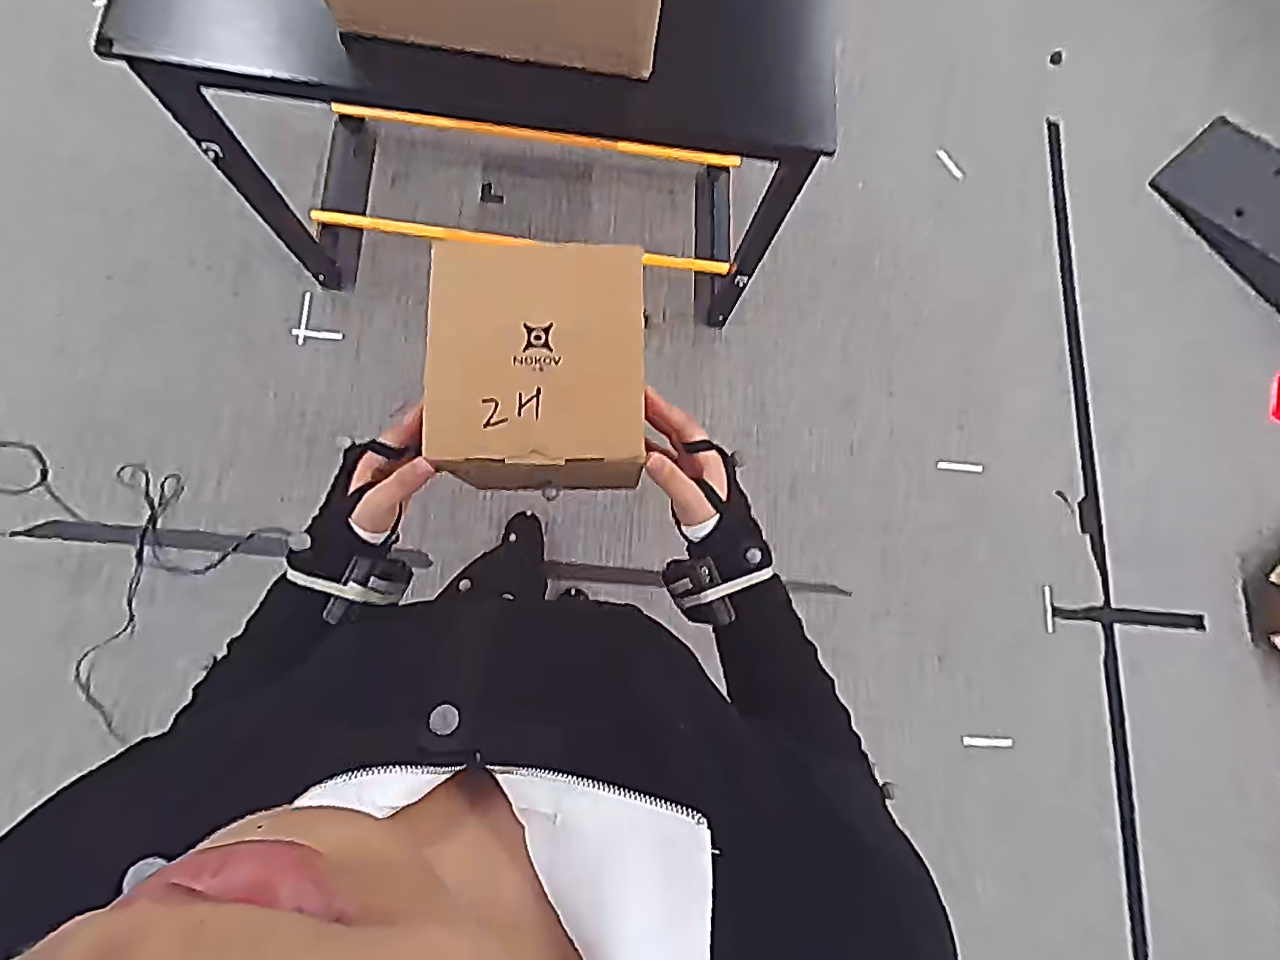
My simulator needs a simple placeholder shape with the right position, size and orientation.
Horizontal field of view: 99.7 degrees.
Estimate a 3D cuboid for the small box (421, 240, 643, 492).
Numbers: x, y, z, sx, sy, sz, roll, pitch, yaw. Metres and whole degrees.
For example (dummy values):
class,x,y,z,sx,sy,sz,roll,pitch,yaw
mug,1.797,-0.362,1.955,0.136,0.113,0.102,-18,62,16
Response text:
class,x,y,z,sx,sy,sz,roll,pitch,yaw
small box,-0.084,-0.090,0.494,0.168,0.176,0.179,0,79,-2
